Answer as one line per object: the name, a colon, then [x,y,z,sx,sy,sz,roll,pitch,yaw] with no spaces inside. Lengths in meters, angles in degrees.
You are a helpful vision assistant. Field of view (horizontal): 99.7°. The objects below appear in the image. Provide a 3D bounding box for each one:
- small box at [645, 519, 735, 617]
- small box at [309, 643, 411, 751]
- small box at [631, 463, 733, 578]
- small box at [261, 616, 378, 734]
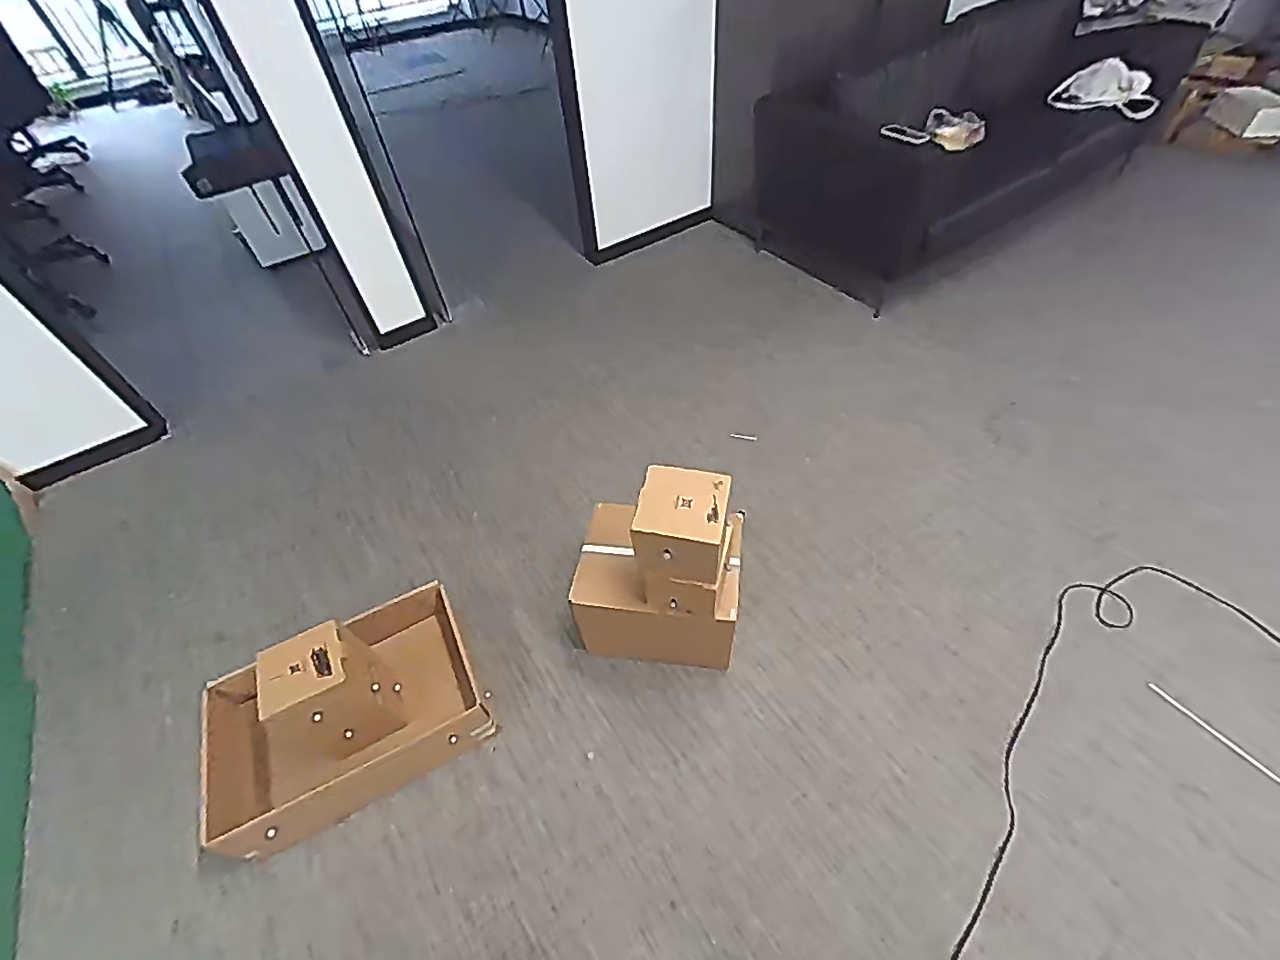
small box: [0.117,0.188,1.252,0.168,0.176,0.179,12,56,14]
small box: [-0.712,0.552,1.365,0.179,0.176,0.168,-25,53,-15]
small box: [0.092,0.087,1.124,0.179,0.176,0.168,8,55,12]
small box: [-0.724,0.449,1.237,0.179,0.176,0.168,-25,53,-13]
